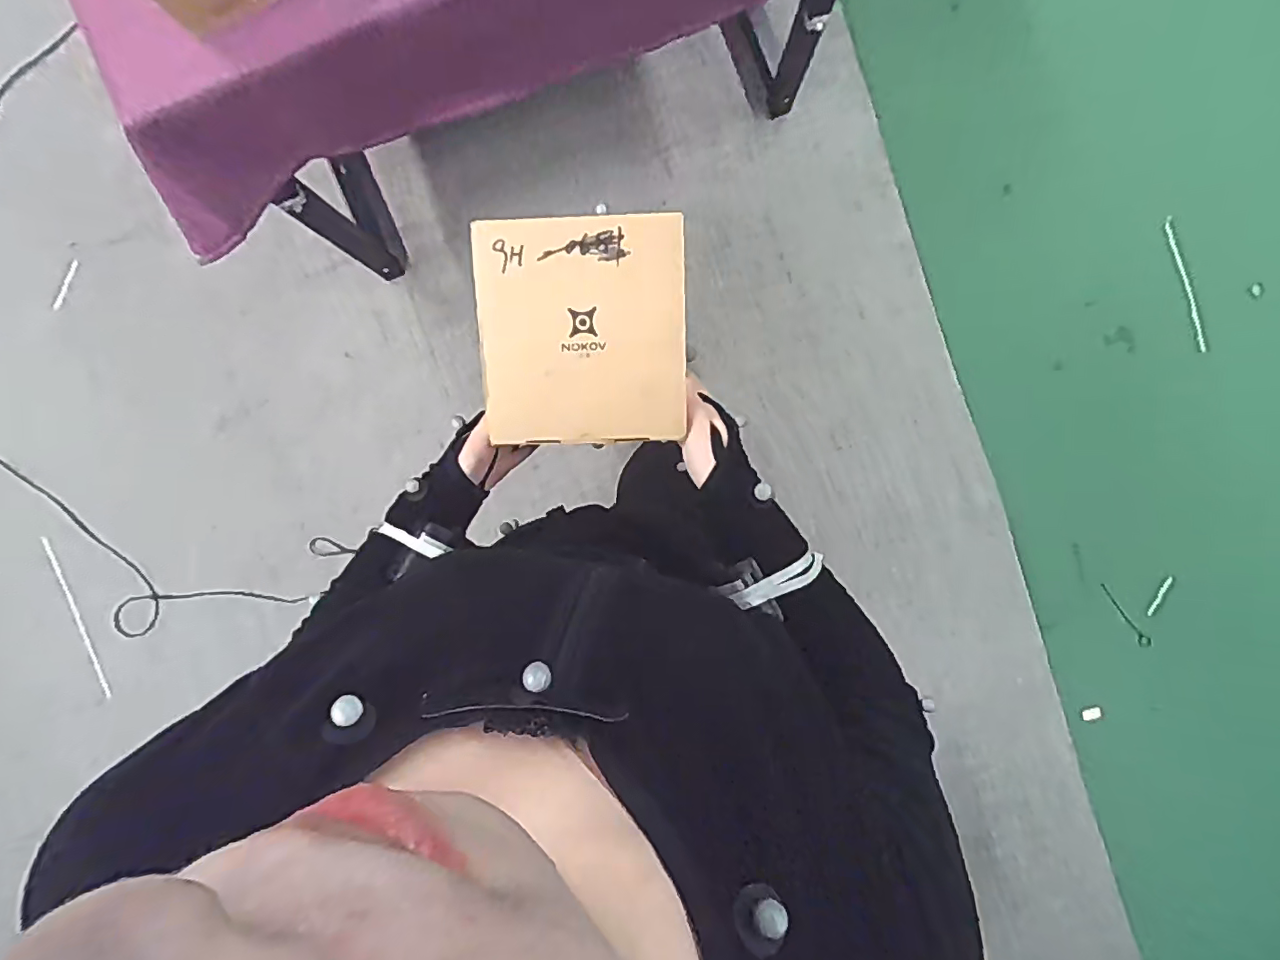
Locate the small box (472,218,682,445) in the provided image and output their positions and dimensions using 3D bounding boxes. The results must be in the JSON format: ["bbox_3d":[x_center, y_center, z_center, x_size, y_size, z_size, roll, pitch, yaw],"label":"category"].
[{"bbox_3d":[-0.045,-0.133,0.512,0.168,0.176,0.179,-1,102,1],"label":"small box"}]

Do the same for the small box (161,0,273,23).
[{"bbox_3d":[-0.557,-0.702,0.644,0.168,0.176,0.179,-23,92,-1],"label":"small box"}]
